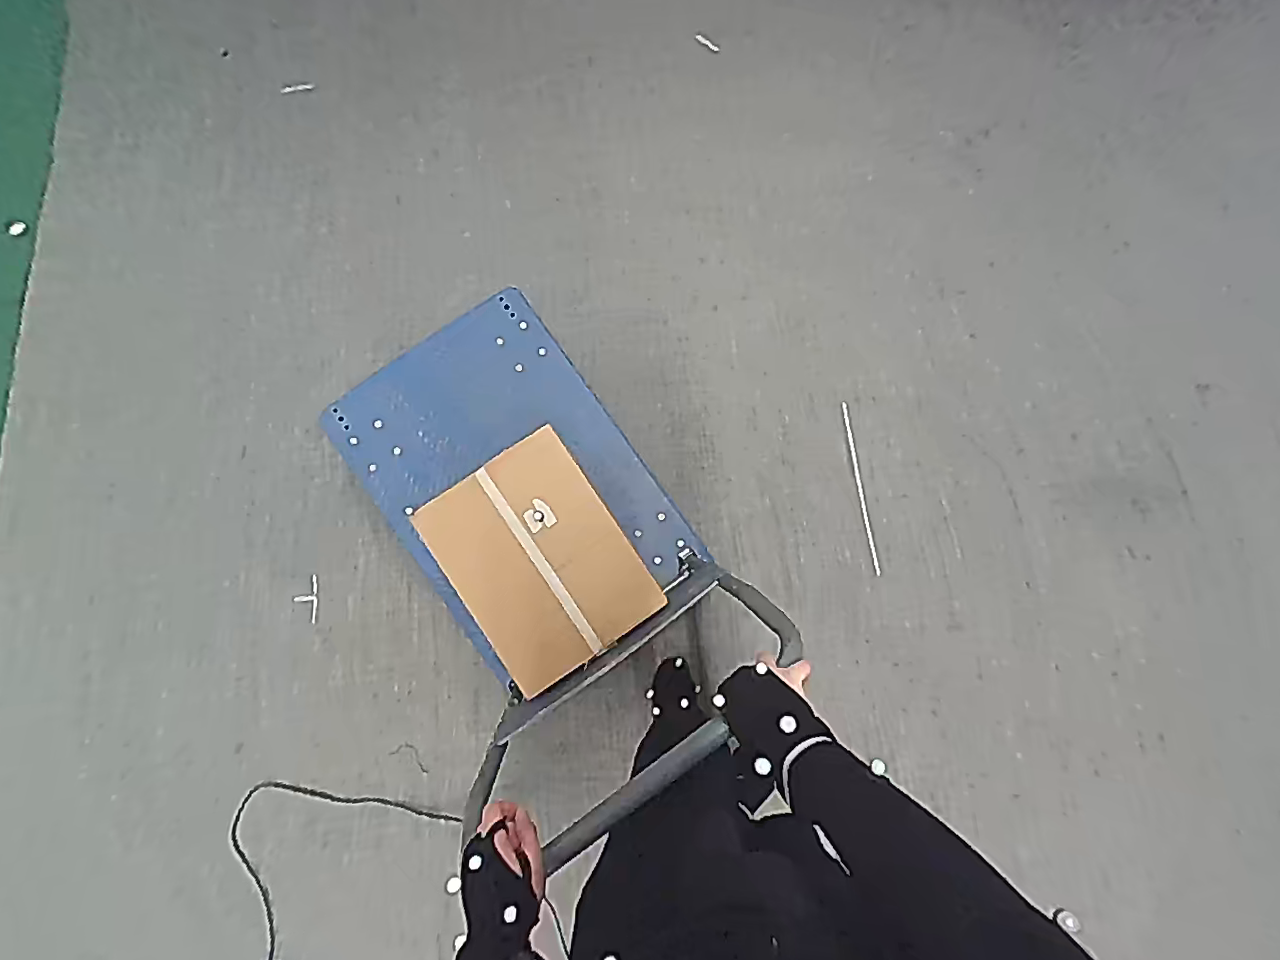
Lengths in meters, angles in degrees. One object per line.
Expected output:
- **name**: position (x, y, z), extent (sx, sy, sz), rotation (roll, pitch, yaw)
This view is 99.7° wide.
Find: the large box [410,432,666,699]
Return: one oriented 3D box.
- **large box**: position (-0.189, 0.166, 1.142), extent (0.320, 0.320, 0.408), rotation (-35, 87, -5)
